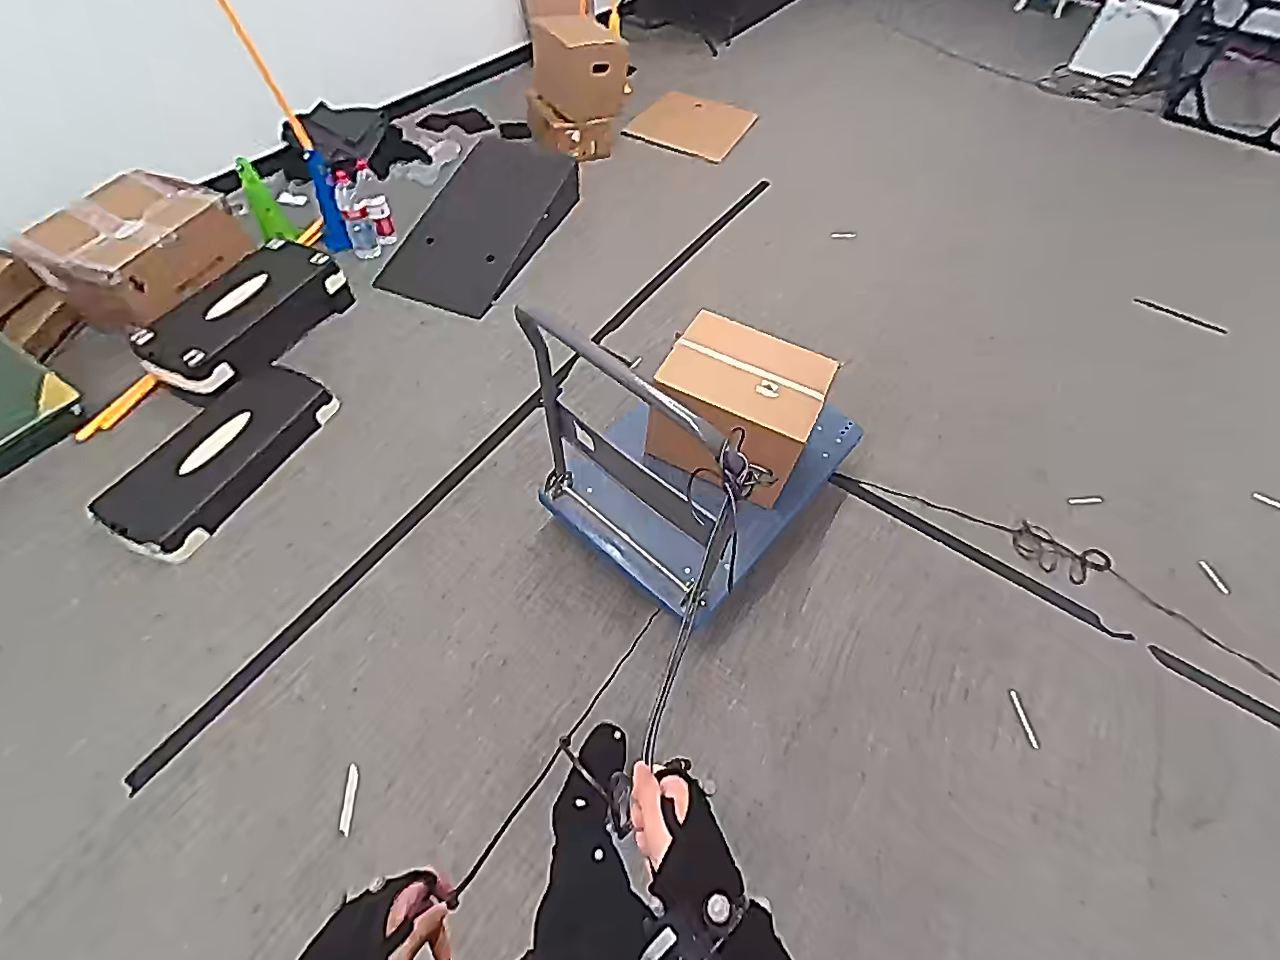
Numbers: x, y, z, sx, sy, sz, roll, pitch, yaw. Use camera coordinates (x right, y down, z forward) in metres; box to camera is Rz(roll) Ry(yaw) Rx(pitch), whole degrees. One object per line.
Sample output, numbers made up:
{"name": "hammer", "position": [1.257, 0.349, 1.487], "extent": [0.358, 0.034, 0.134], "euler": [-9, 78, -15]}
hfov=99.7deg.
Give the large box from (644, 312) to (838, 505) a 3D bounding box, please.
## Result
{"name": "large box", "position": [0.264, -0.195, 1.500], "extent": [0.408, 0.320, 0.320], "euler": [26, 59, 11]}
